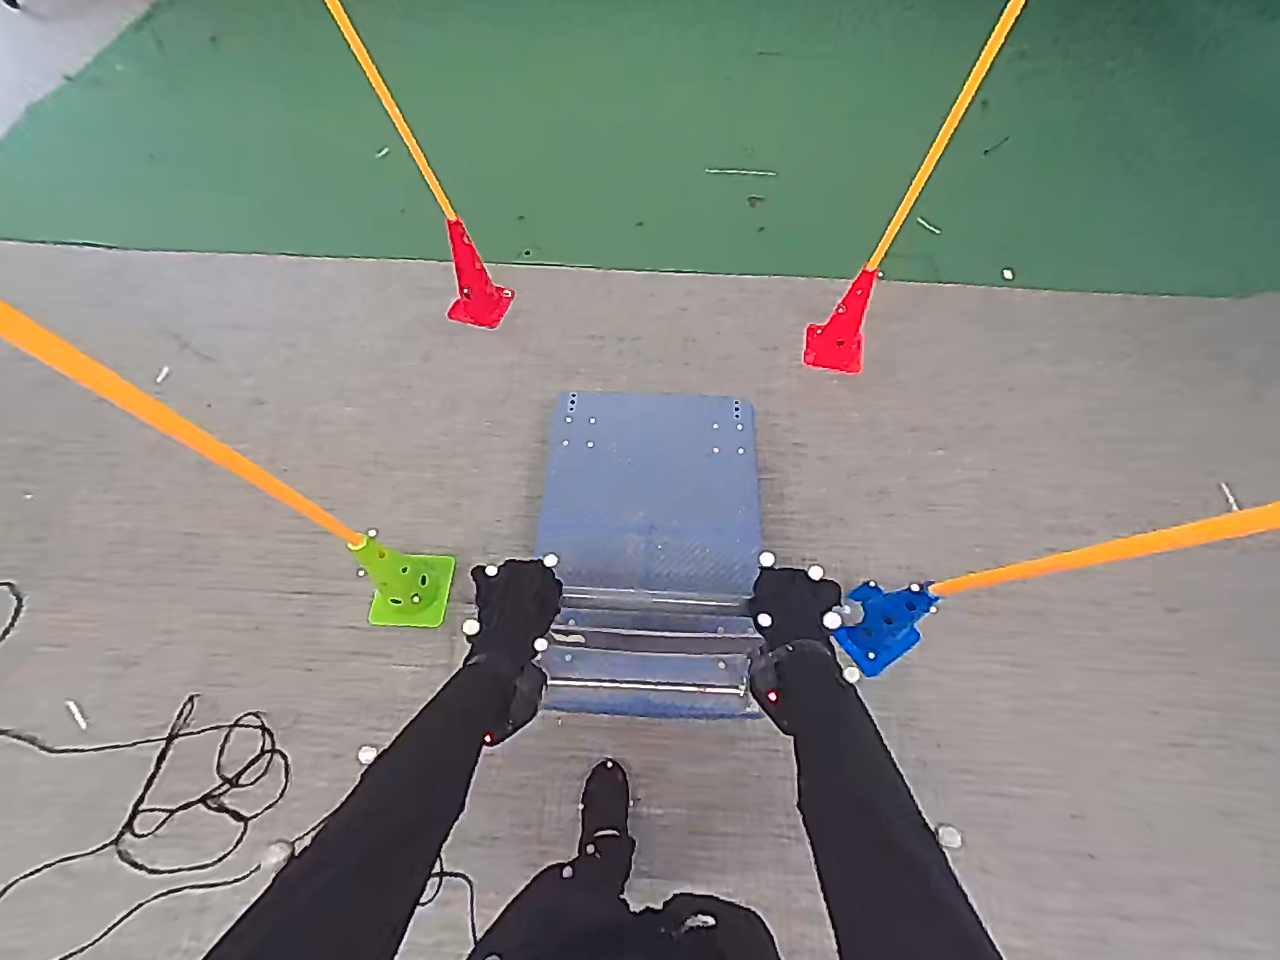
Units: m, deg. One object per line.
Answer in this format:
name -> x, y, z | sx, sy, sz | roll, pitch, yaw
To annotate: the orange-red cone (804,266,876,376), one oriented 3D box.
orange-red cone -> 0.685, -0.537, 1.757 | 0.198, 0.360, 0.199 | 13, 63, 7
